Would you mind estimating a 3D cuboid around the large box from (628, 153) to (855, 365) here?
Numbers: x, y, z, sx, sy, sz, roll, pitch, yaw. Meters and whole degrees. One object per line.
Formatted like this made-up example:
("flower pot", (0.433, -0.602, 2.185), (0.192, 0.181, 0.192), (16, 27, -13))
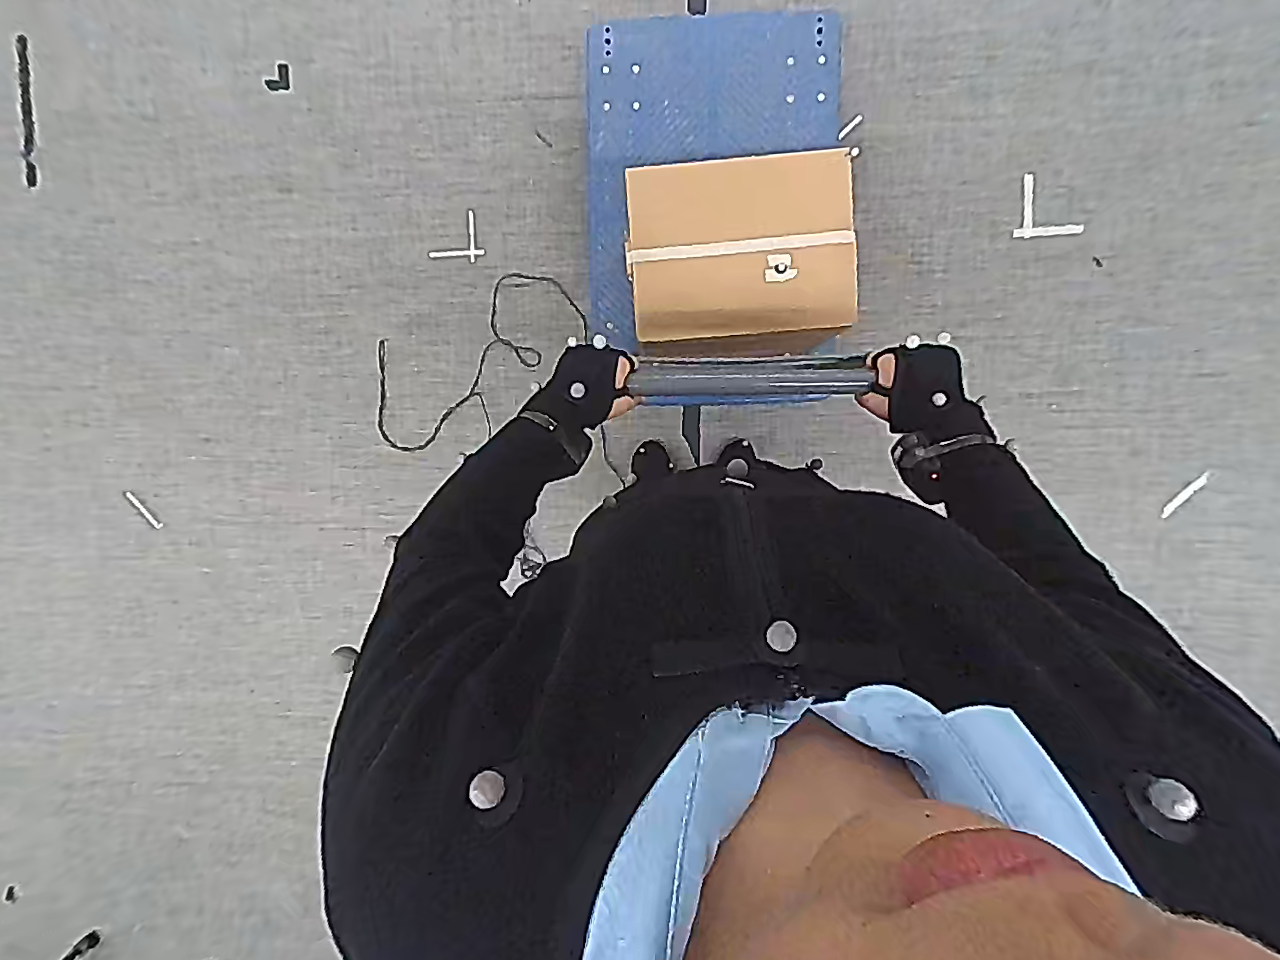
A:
("large box", (0.193, -0.436, 1.144), (0.408, 0.320, 0.320), (-4, 95, 2))
